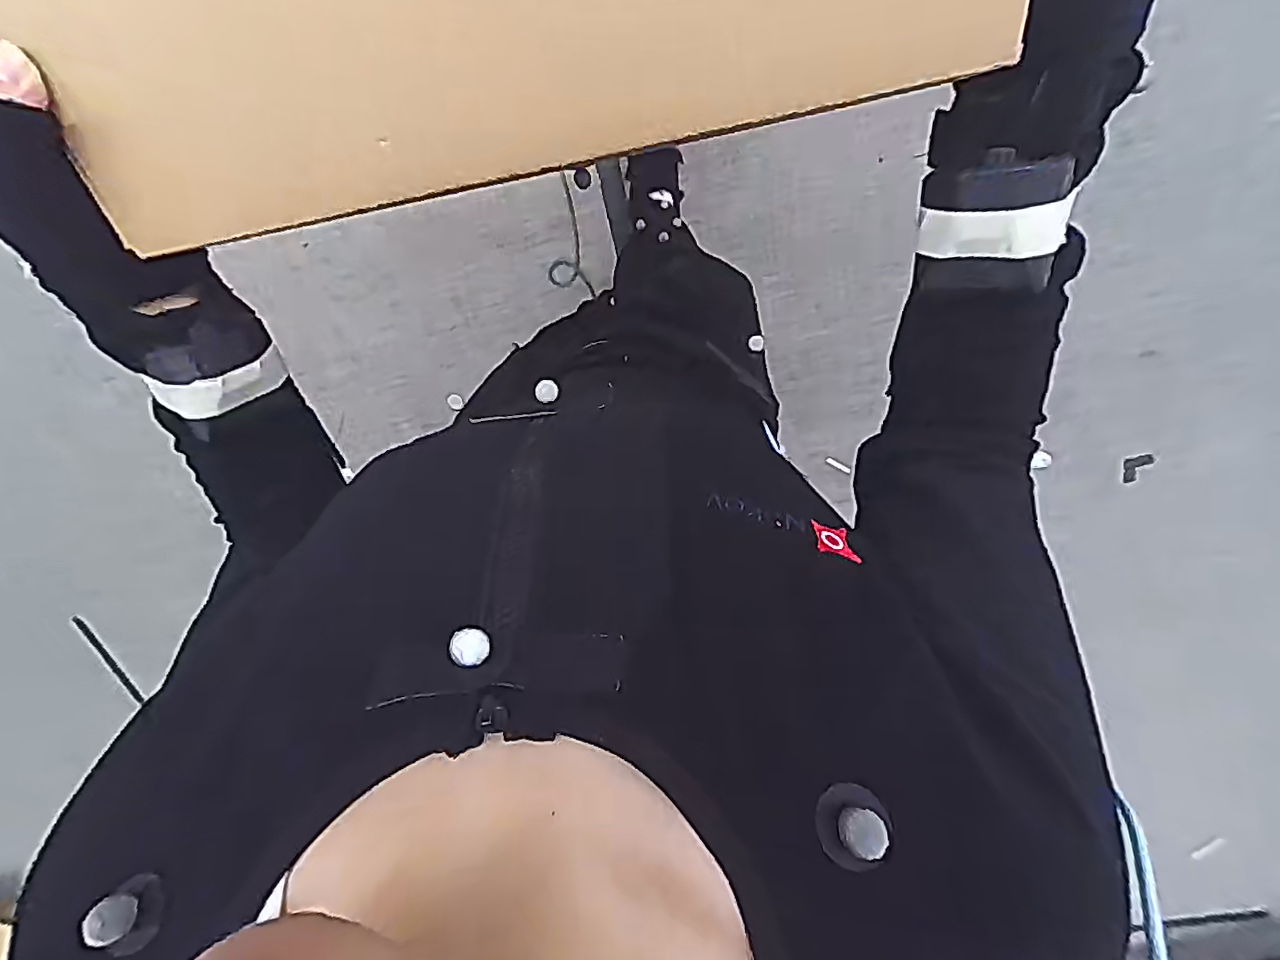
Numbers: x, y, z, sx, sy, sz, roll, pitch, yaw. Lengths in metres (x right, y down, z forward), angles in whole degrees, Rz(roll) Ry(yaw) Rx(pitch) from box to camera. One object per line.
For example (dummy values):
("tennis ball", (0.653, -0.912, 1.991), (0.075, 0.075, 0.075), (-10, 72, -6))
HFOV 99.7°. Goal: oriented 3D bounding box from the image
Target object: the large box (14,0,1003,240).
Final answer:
("large box", (-0.073, -0.357, 0.298), (0.408, 0.320, 0.320), (-9, 122, 6))
